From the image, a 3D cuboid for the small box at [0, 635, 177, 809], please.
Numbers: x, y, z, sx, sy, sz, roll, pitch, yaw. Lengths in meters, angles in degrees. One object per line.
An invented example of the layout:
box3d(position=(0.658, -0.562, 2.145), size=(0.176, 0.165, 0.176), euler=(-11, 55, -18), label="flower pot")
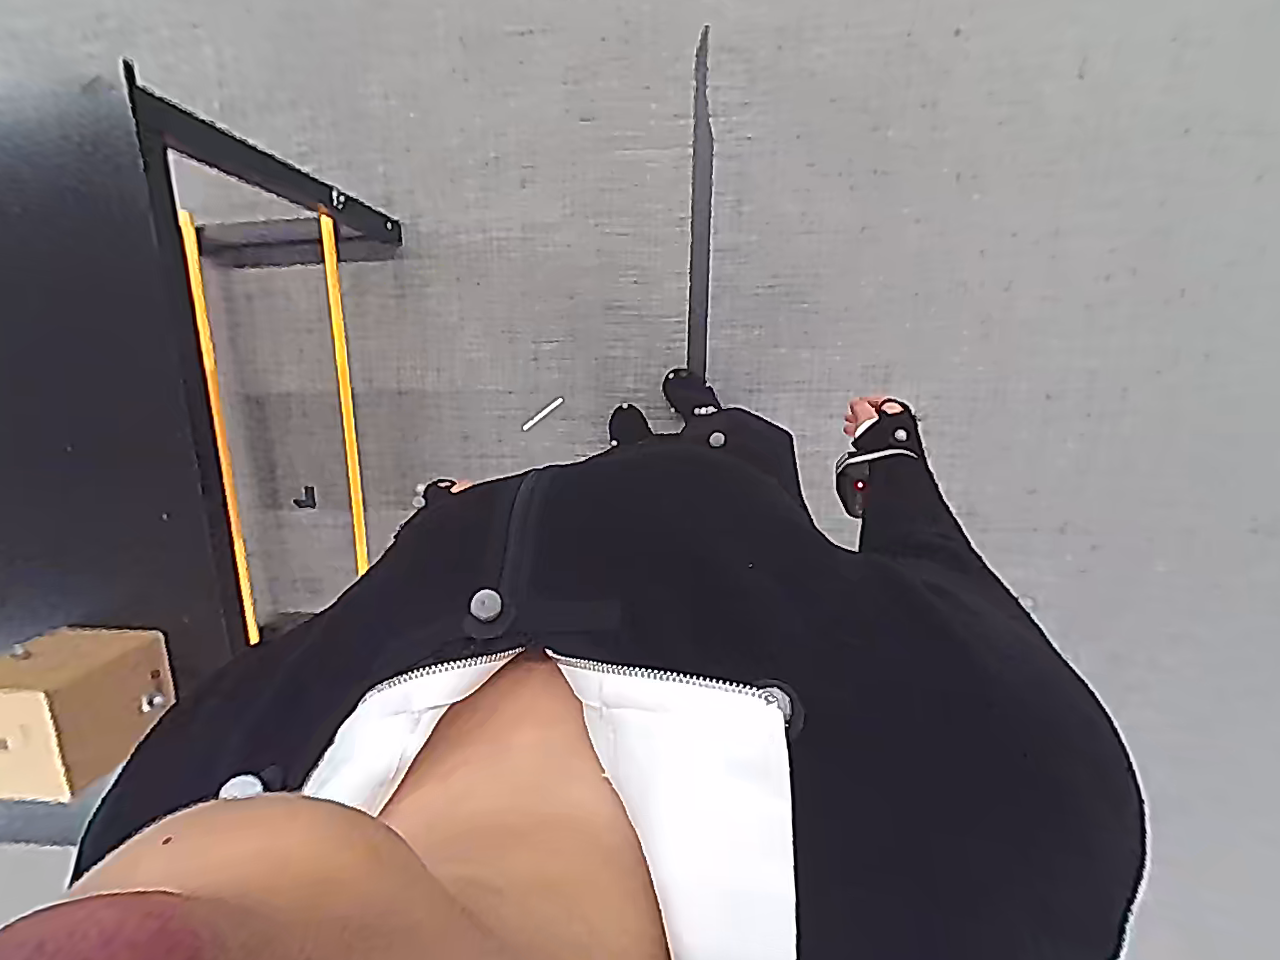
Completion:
box3d(position=(-0.838, 0.339, 0.785), size=(0.179, 0.176, 0.168), euler=(0, 102, 4), label="small box")
